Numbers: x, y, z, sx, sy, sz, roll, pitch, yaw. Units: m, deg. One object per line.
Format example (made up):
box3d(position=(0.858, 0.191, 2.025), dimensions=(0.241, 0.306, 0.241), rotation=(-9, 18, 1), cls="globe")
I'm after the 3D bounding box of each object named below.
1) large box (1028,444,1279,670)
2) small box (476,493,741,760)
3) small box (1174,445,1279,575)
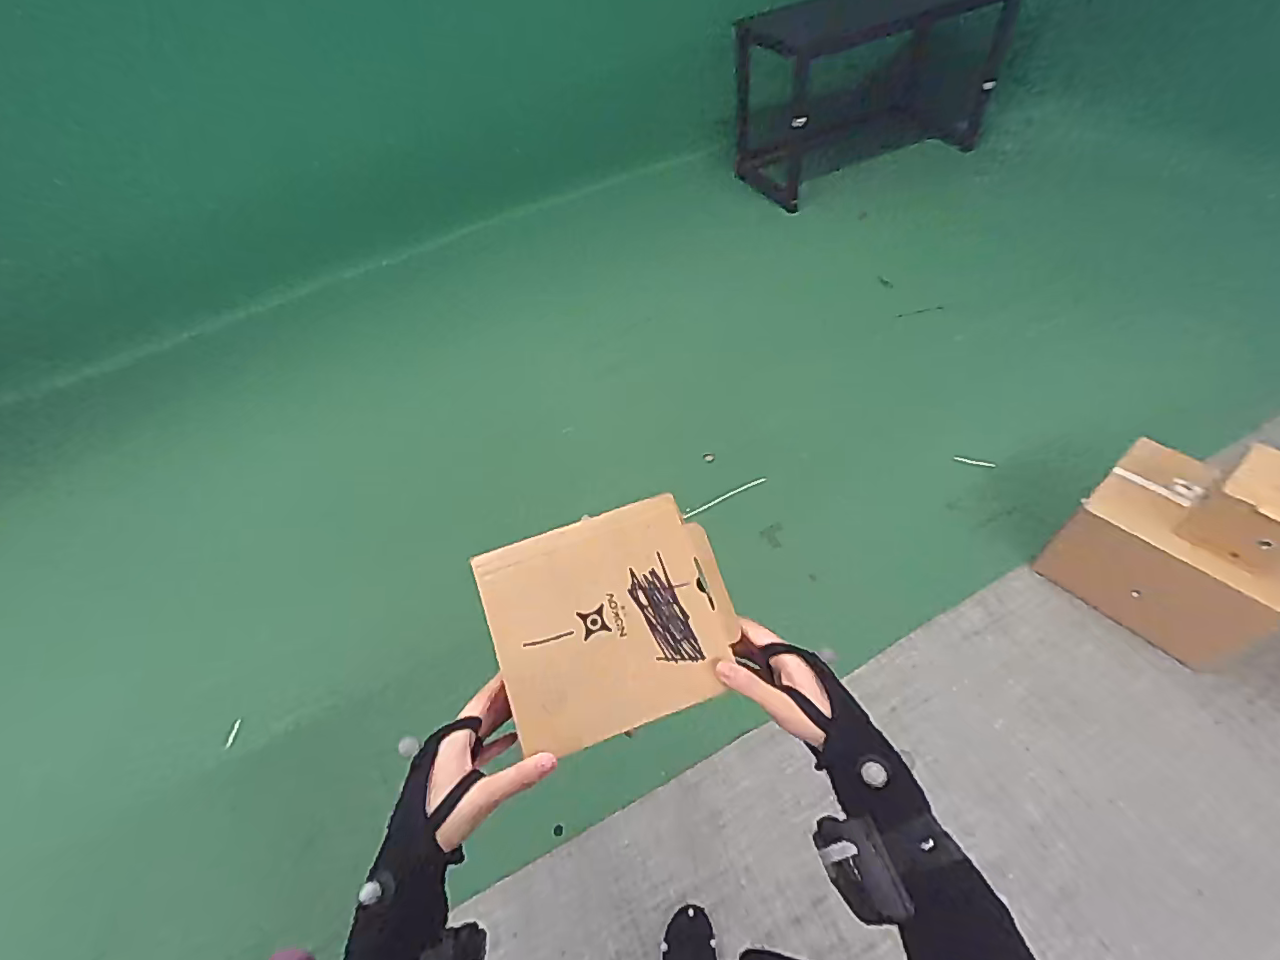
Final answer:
box3d(position=(1.310, 0.188, 1.354), dimensions=(0.320, 0.320, 0.408), rotation=(-37, 53, -20), cls="large box")
box3d(position=(-0.031, 0.131, 0.503), dimensions=(0.179, 0.176, 0.168), rotation=(-17, 73, -8), cls="small box")
box3d(position=(1.293, 0.066, 1.137), dimensions=(0.179, 0.176, 0.168), rotation=(-37, 55, -18), cls="small box")
